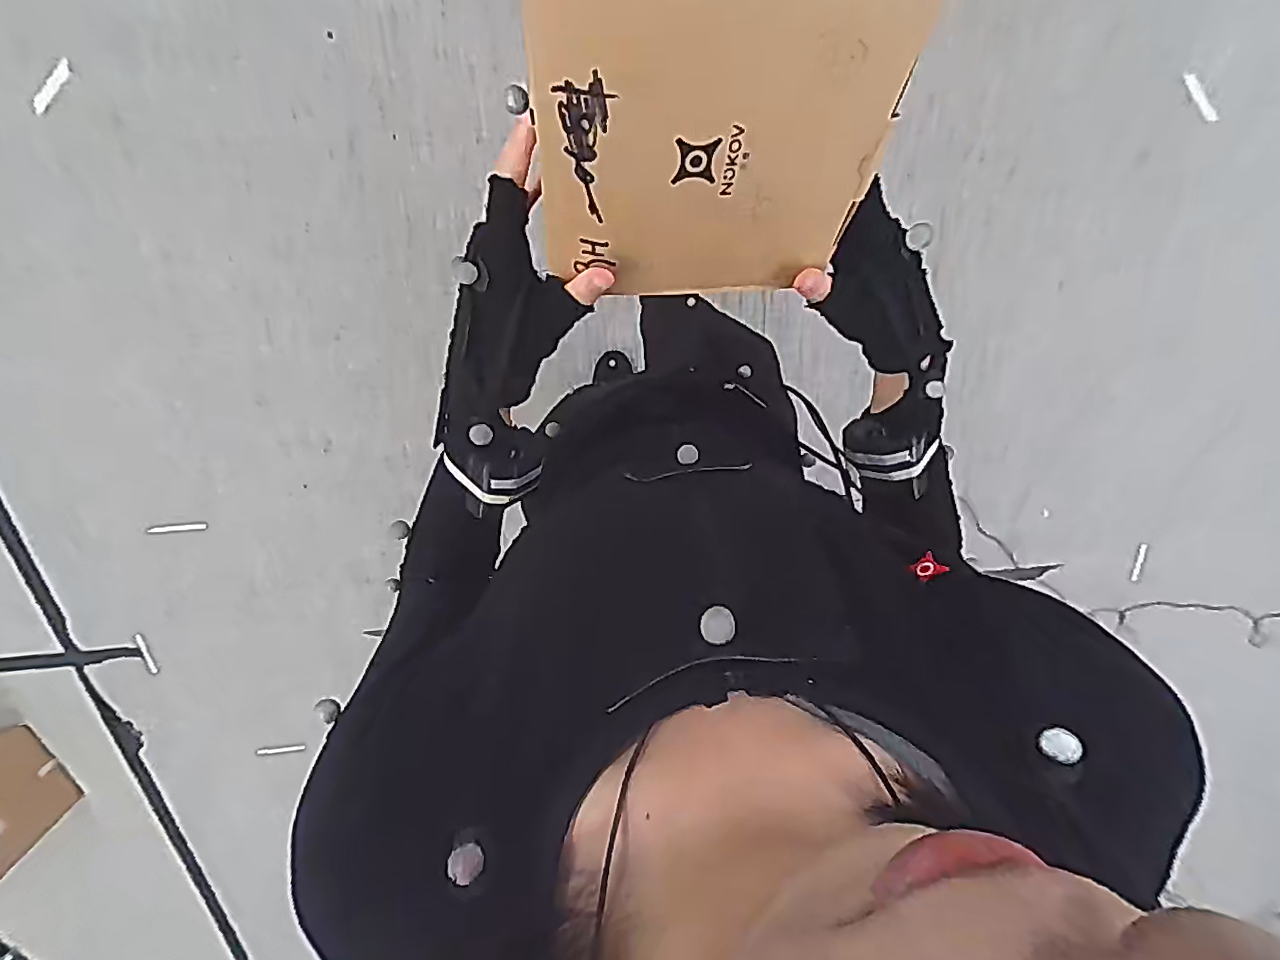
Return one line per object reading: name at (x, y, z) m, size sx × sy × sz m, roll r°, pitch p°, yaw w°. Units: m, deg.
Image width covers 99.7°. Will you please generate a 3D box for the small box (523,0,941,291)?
small box at (0.026, -0.233, 0.311) m, size 0.179 × 0.176 × 0.168 m, roll -4°, pitch 150°, yaw -7°
